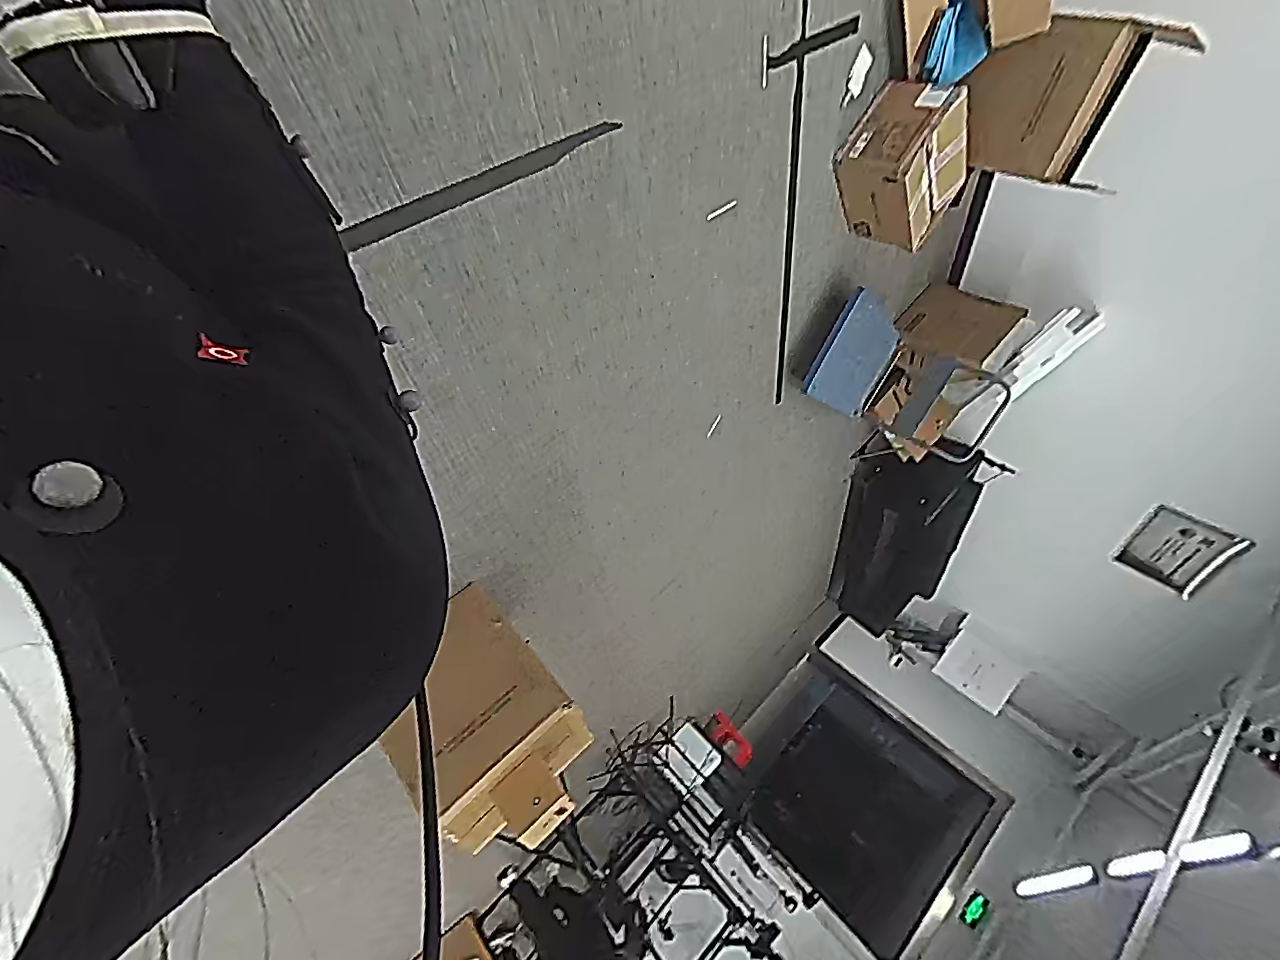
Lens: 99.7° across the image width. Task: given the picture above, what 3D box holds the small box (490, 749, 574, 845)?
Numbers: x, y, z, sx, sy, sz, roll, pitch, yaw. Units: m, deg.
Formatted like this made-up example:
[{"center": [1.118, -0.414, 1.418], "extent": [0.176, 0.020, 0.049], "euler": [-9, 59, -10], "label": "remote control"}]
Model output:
[{"center": [-0.336, 0.979, 1.679], "extent": [0.179, 0.176, 0.168], "euler": [-36, 142, -23], "label": "small box"}]
